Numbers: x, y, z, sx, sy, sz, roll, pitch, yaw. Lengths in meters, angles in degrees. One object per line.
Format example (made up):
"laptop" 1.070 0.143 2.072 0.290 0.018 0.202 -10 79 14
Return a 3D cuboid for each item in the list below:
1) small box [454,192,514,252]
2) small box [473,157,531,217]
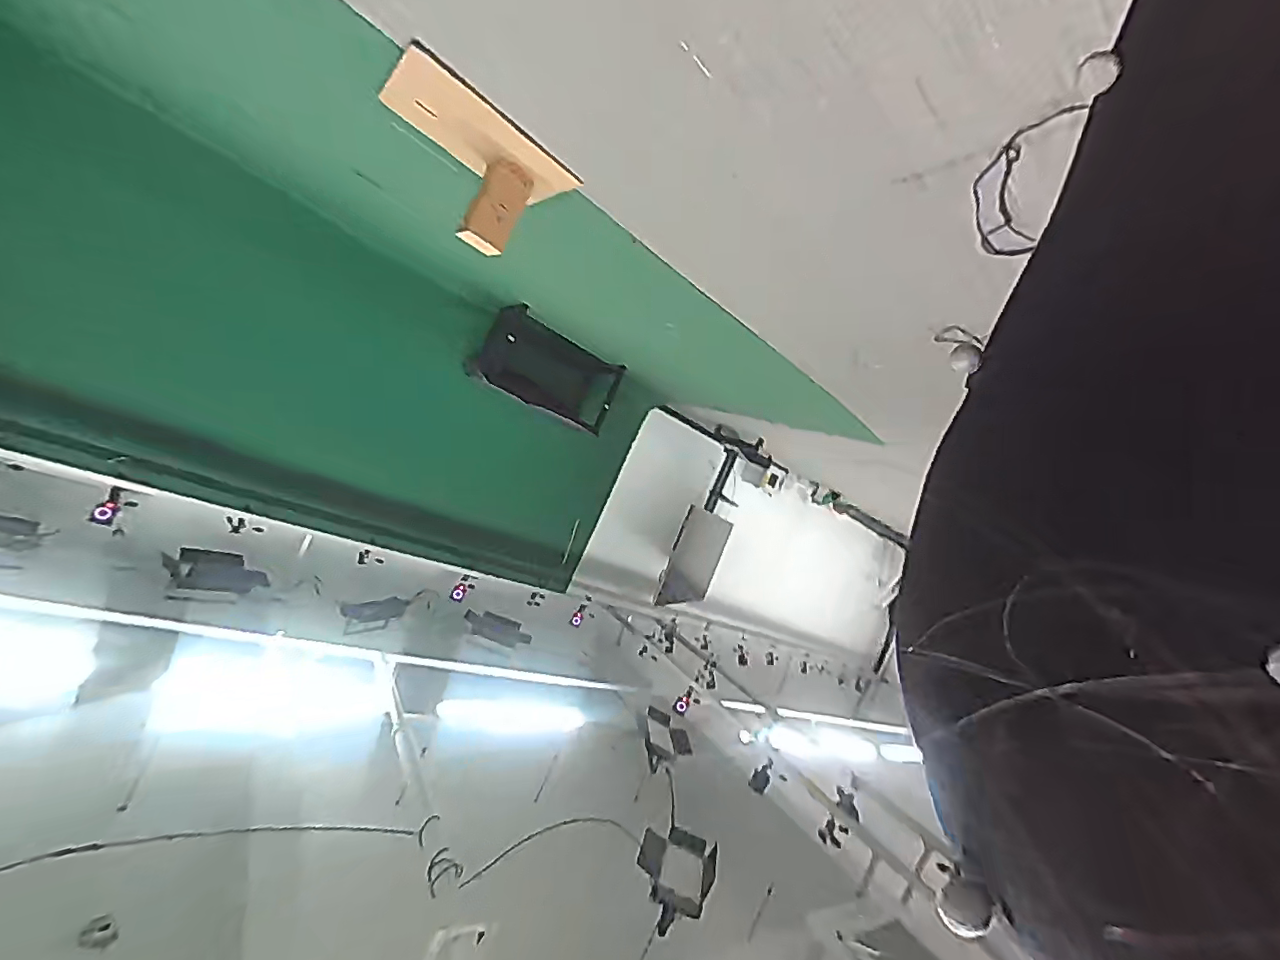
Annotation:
"small box" -0.670 -1.109 2.328 0.168 0.176 0.179 25 180 -41
"small box" -0.592 -1.252 2.322 0.168 0.176 0.179 24 -179 -39
